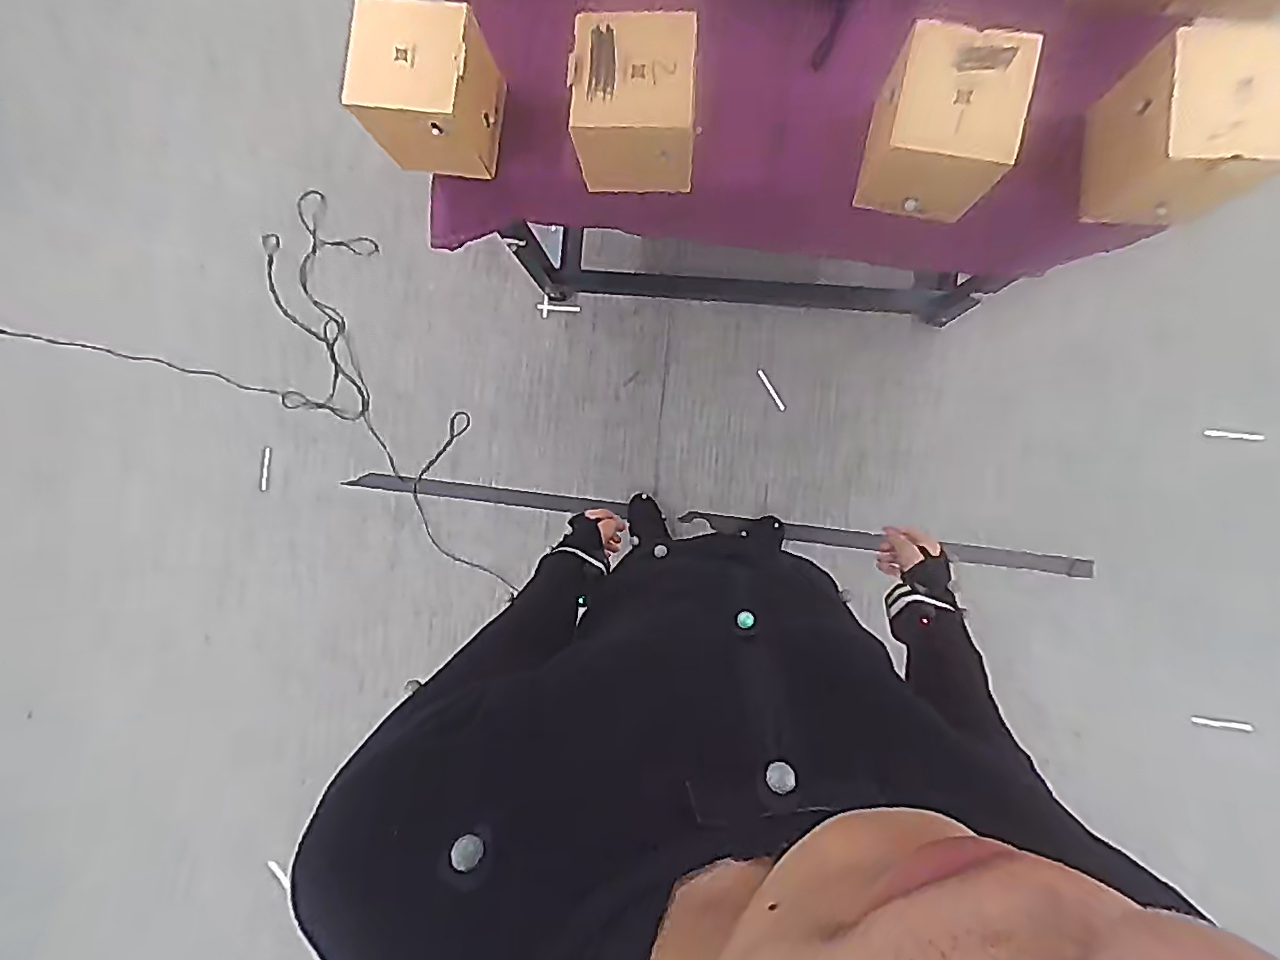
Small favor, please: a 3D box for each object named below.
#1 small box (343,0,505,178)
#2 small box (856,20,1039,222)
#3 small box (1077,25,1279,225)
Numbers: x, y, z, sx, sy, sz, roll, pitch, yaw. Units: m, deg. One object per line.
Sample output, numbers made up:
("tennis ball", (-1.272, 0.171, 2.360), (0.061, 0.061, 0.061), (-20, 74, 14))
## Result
("small box", (-0.337, -0.617, 0.872), (0.179, 0.176, 0.168), (7, 90, 4))
("small box", (0.438, -0.517, 0.800), (0.168, 0.176, 0.179), (12, 92, 5))
("small box", (0.768, -0.492, 0.768), (0.168, 0.176, 0.179), (5, 90, 6))
